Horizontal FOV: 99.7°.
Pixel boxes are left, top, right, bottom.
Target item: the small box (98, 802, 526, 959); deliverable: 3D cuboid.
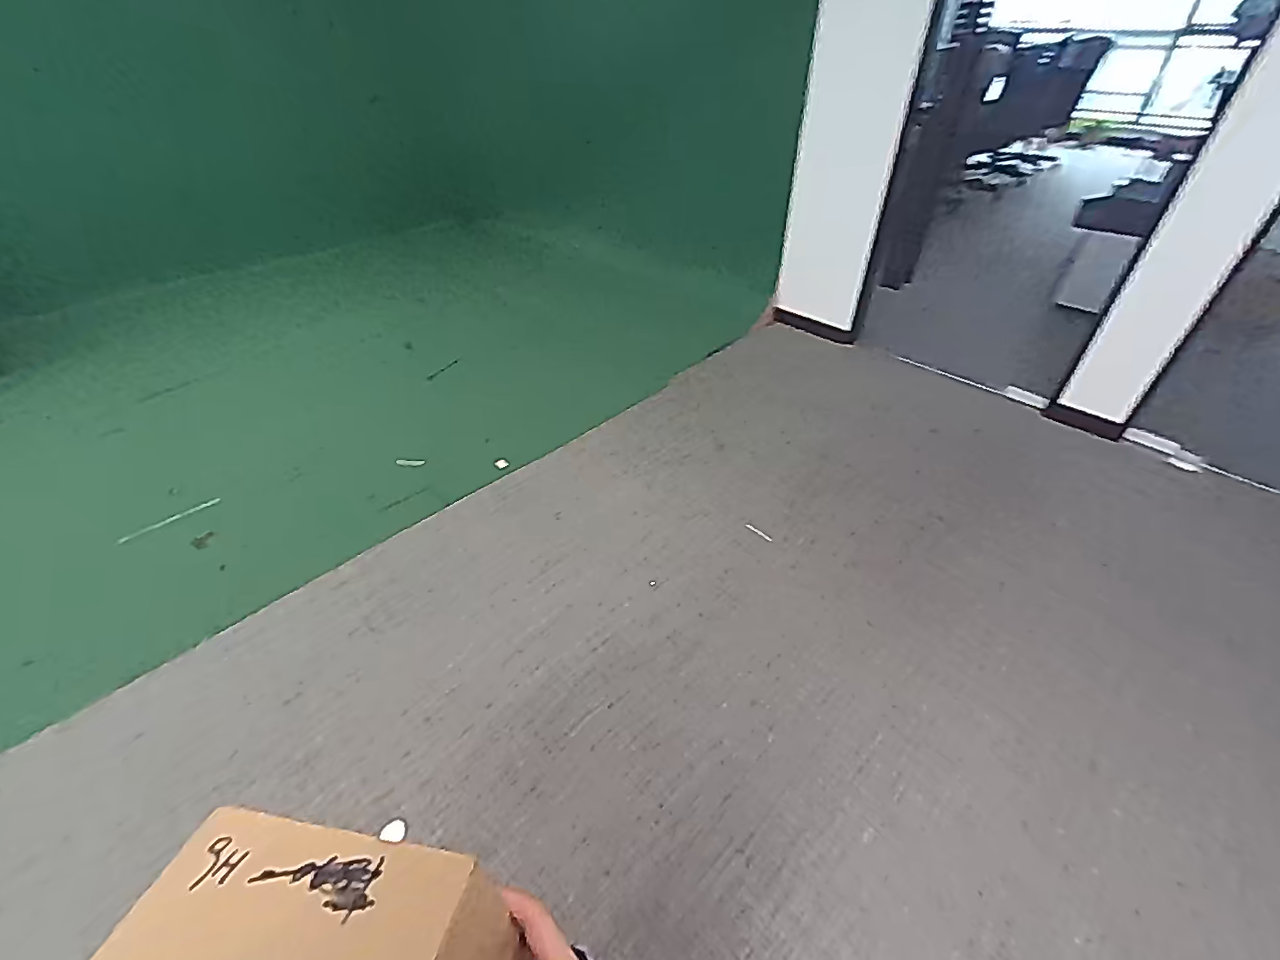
[{"bbox_3d":[-0.172,0.305,0.274,0.168,0.176,0.179,2,35,13],"label":"small box"}]
